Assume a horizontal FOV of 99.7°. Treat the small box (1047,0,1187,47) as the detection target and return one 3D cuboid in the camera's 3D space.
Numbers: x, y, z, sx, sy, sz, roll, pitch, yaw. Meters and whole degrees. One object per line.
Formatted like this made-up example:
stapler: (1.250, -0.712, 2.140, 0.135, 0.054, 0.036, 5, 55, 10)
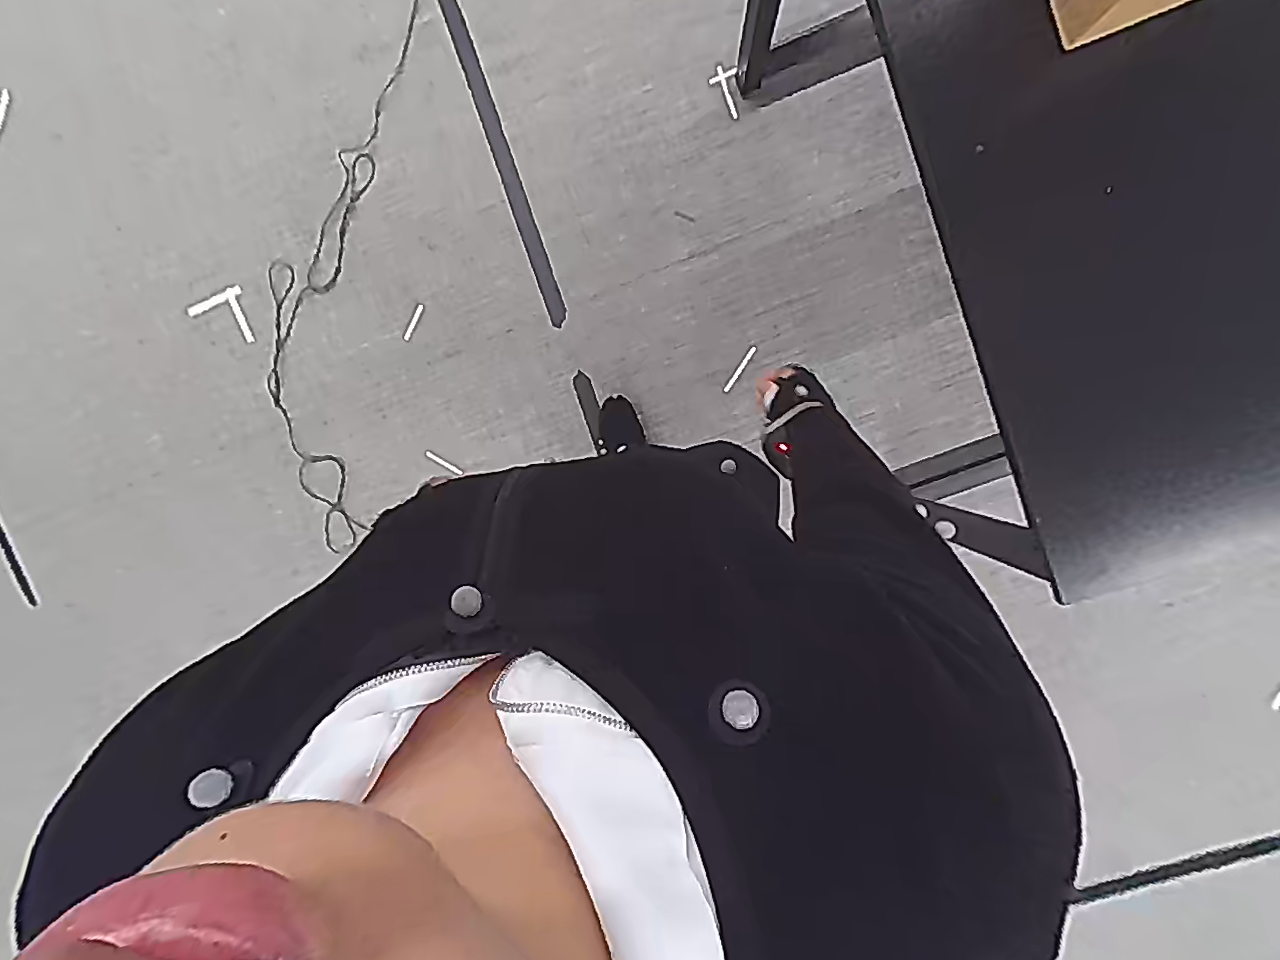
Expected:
small box: (0.572, -0.630, 0.588, 0.179, 0.176, 0.168, -20, 95, 4)
